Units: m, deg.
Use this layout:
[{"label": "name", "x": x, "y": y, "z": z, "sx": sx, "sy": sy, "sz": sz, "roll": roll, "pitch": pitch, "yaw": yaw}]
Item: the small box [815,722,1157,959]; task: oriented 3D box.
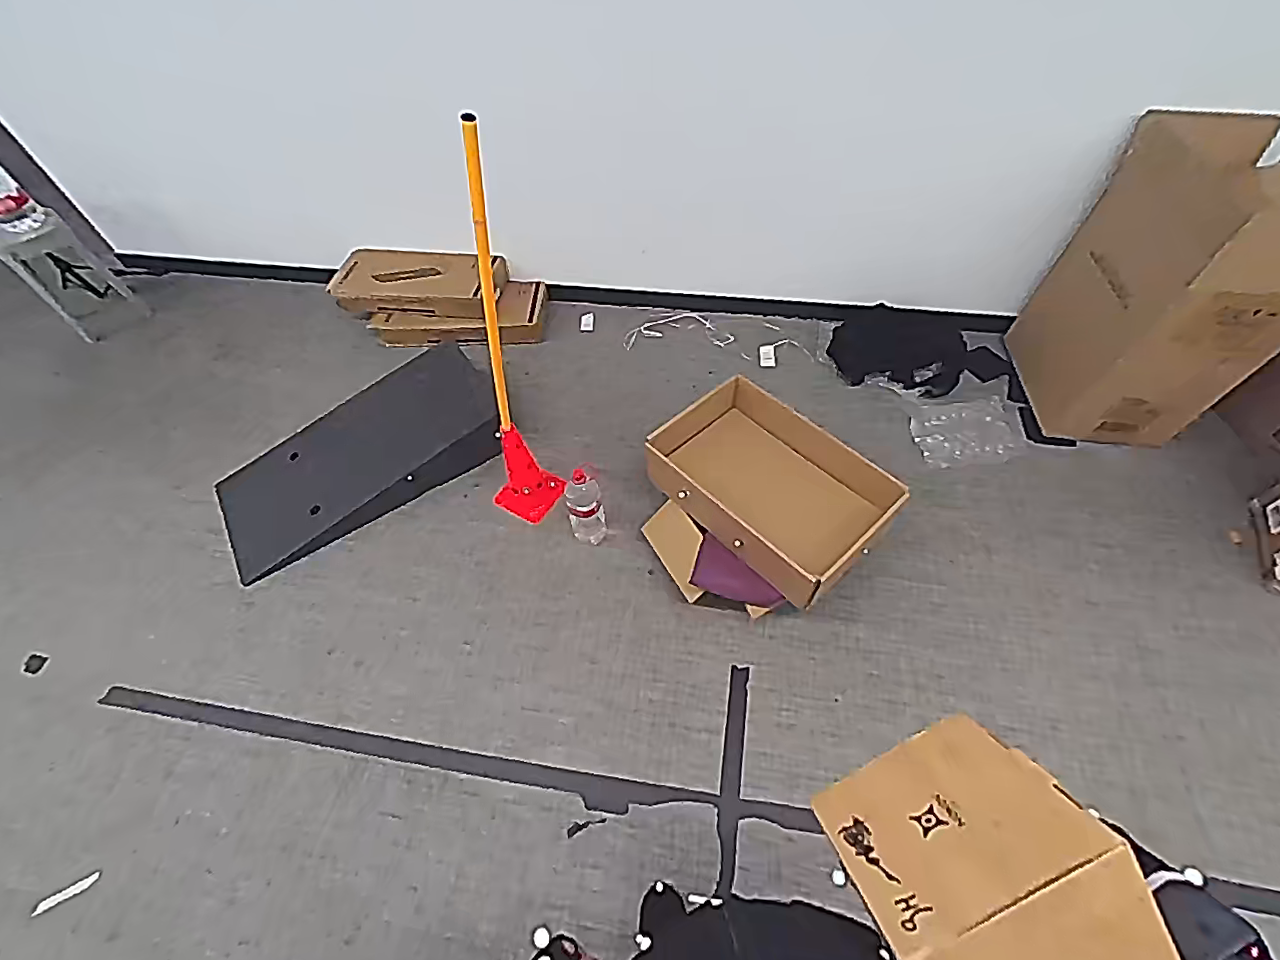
[{"label": "small box", "x": 0.289, "y": 0.358, "z": 0.465, "sx": 0.179, "sy": 0.168, "sz": 0.176, "roll": -28, "pitch": 97, "yaw": -2}]
